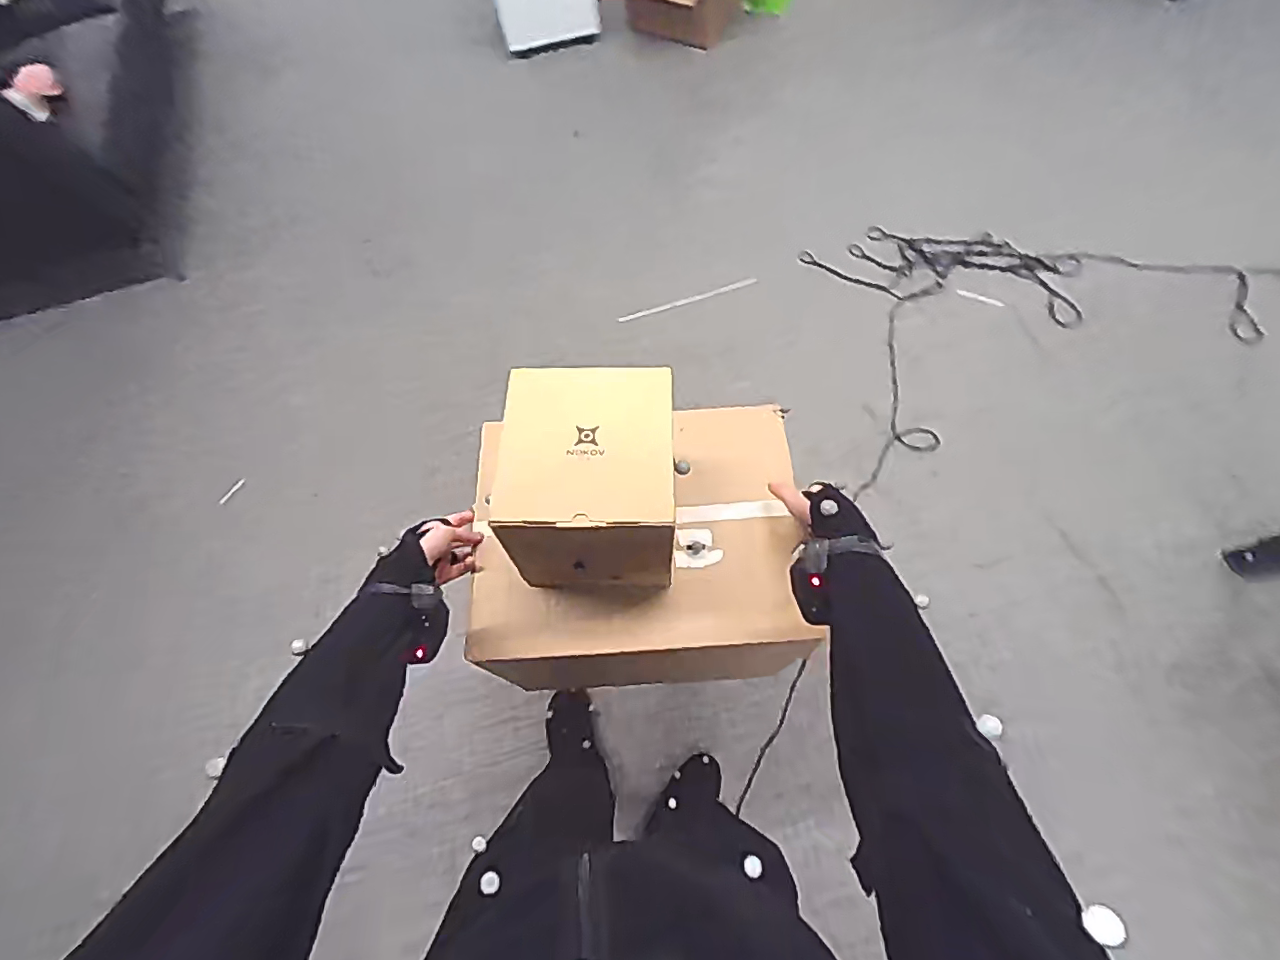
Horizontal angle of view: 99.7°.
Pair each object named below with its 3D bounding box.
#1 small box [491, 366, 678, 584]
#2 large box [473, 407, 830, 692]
[{"bbox_3d":[-0.046,0.000,0.576,0.168,0.176,0.179,0,62,2],"label":"small box"},{"bbox_3d":[0.004,0.117,0.790,0.408,0.320,0.320,-3,63,-1],"label":"large box"}]
